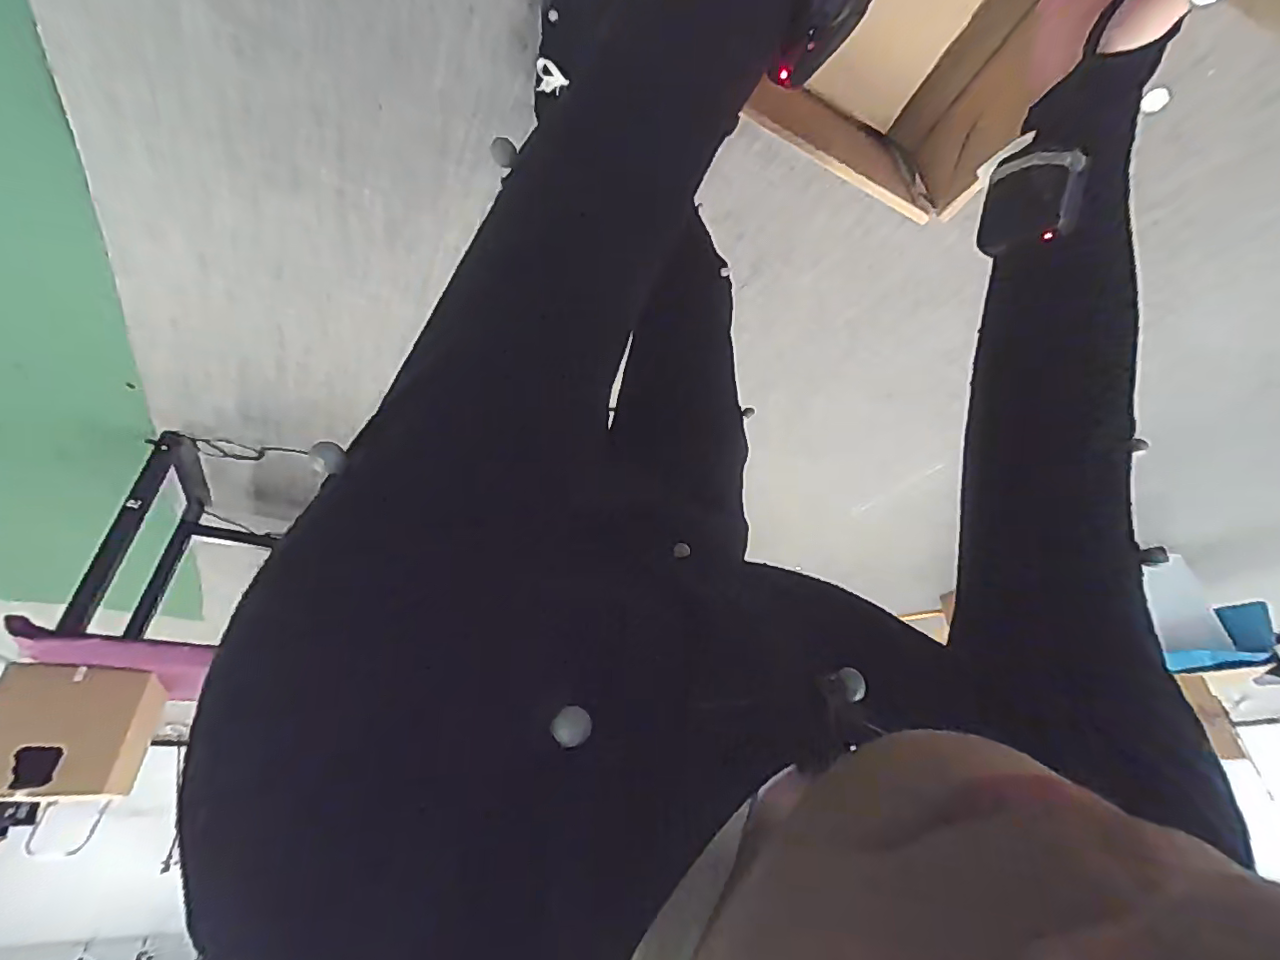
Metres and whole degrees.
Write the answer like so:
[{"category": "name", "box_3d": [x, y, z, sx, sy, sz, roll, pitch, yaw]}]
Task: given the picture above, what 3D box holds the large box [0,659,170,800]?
[{"category": "large box", "box_3d": [-1.617, 0.724, 1.540, 0.320, 0.320, 0.408, 15, 144, -27]}]
